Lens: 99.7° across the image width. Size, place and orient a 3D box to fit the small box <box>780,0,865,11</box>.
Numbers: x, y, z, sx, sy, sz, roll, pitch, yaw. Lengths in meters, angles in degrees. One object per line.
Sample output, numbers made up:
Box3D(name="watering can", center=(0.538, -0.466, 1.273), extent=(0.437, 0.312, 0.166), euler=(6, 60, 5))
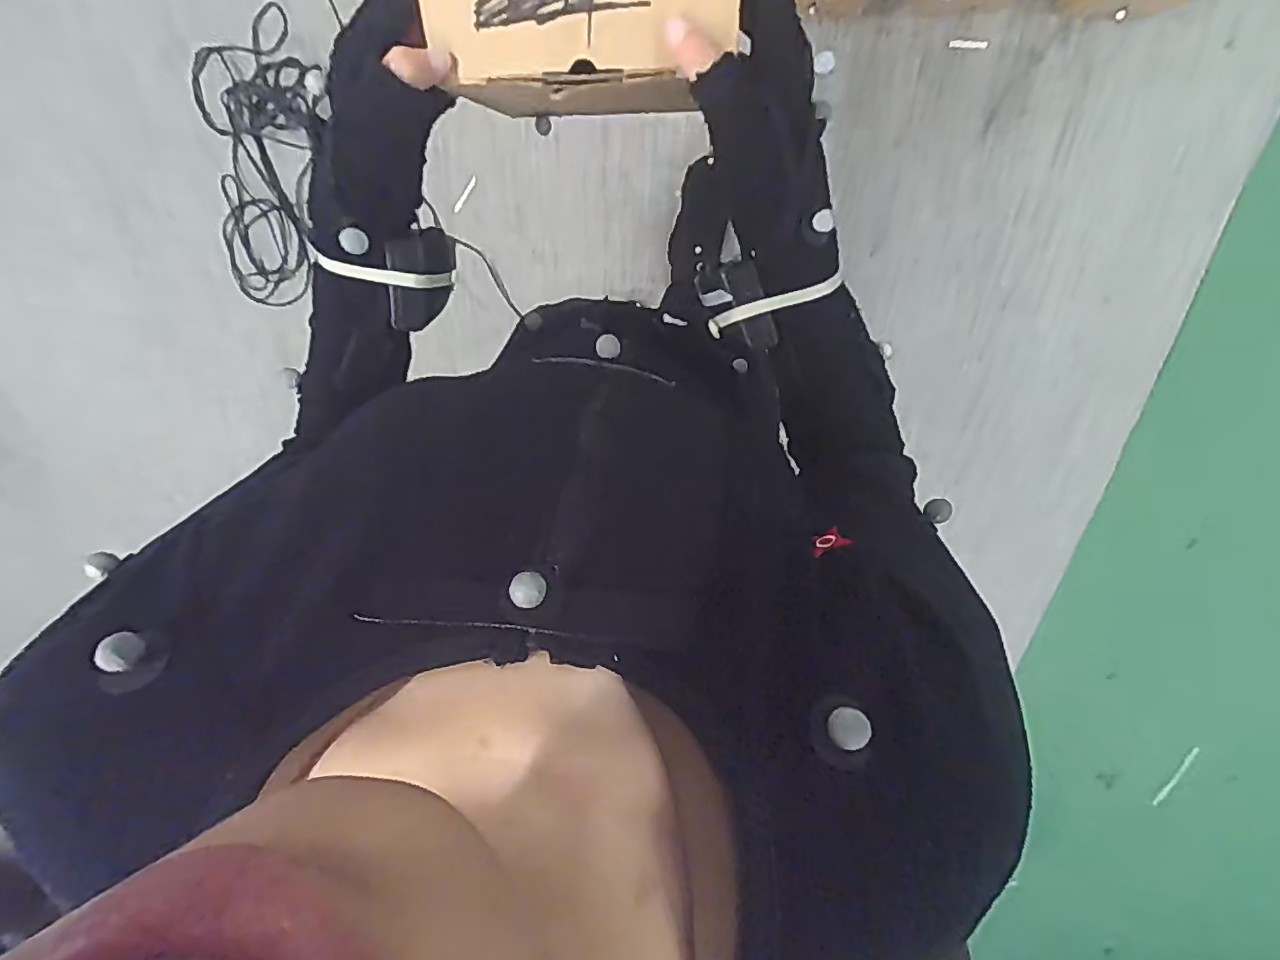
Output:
Box3D(name="small box", center=(0.342, -0.965, 0.950), extent=(0.168, 0.176, 0.179), euler=(6, 118, 5))

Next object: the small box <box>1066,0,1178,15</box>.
Box3D(name="small box", center=(0.869, -0.919, 0.905), extent=(0.168, 0.176, 0.179), euler=(6, 119, 5))
